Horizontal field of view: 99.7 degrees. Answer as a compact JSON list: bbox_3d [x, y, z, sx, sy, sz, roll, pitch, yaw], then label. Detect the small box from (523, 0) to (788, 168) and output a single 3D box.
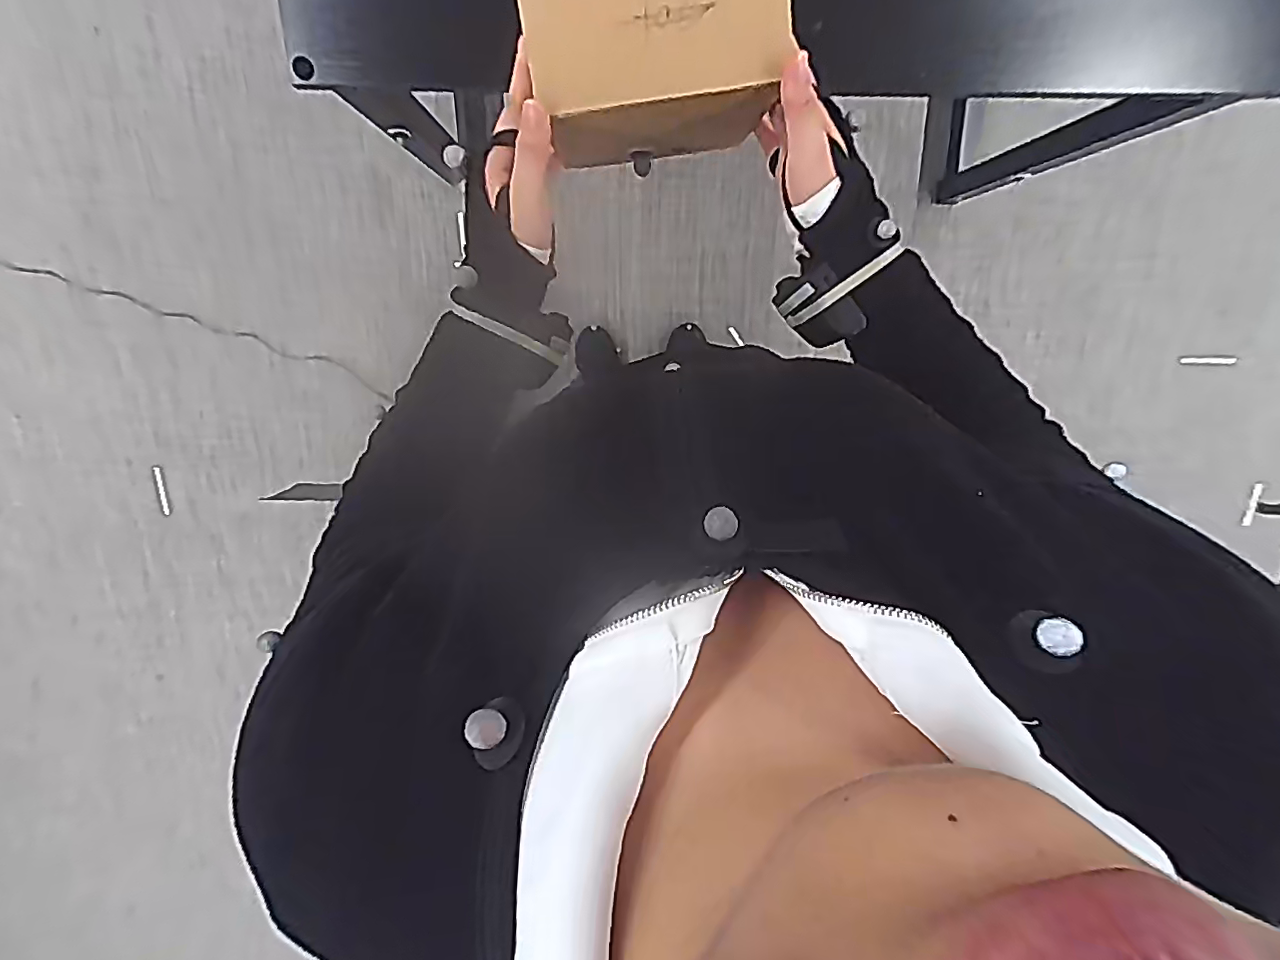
[{"bbox_3d":[0.003,-0.354,0.398,0.168,0.176,0.179,-7,110,2],"label":"small box"}]
